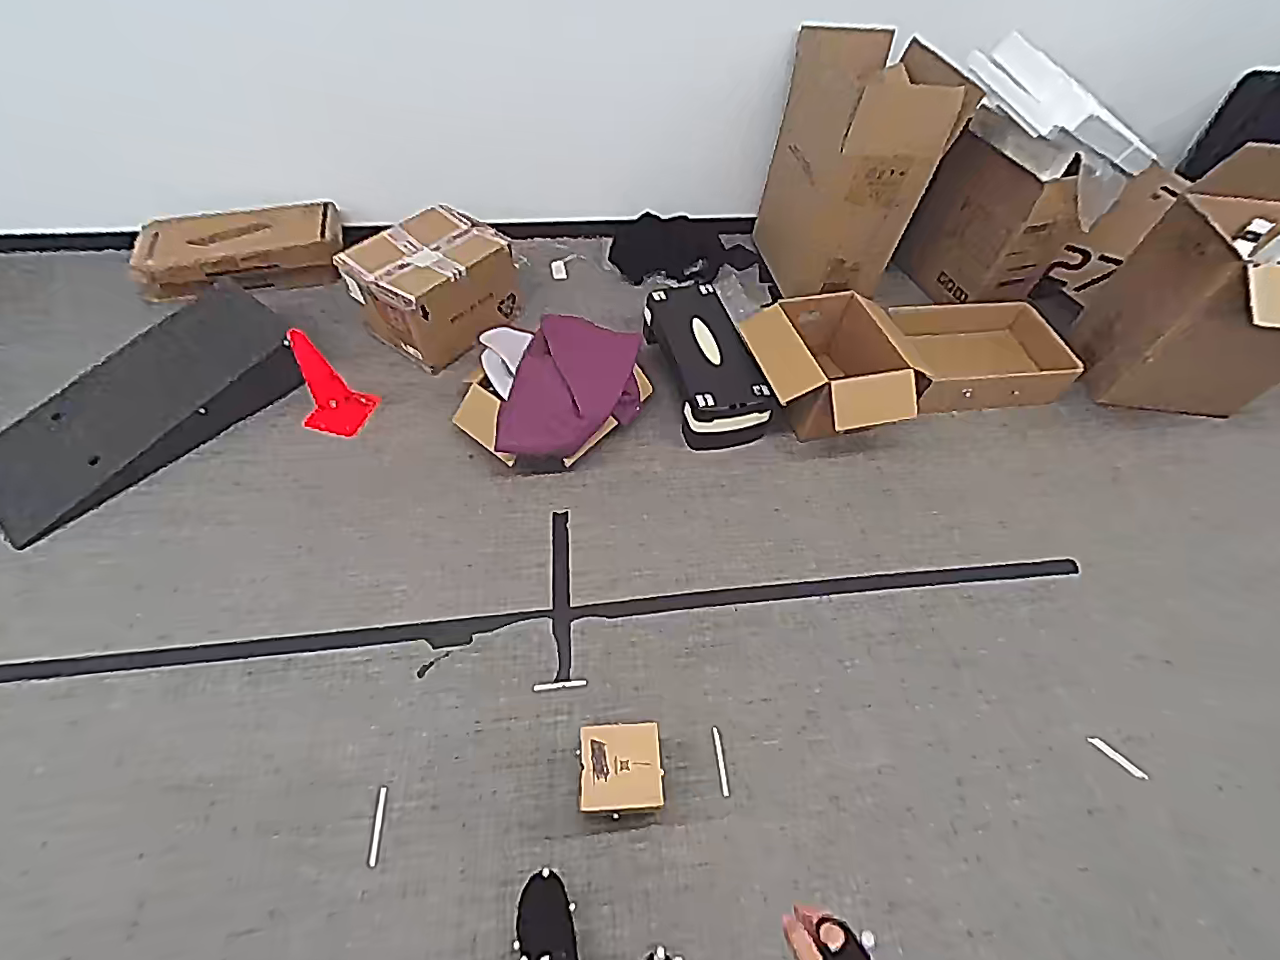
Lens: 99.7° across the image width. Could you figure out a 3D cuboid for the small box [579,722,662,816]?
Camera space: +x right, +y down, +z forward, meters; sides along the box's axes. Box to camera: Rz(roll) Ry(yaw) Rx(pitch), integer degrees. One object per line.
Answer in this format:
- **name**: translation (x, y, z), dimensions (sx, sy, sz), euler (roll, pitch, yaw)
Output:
- **small box**: translation (-0.048, 0.661, 1.233), dimensions (0.179, 0.176, 0.168), euler (-1, 55, -5)
